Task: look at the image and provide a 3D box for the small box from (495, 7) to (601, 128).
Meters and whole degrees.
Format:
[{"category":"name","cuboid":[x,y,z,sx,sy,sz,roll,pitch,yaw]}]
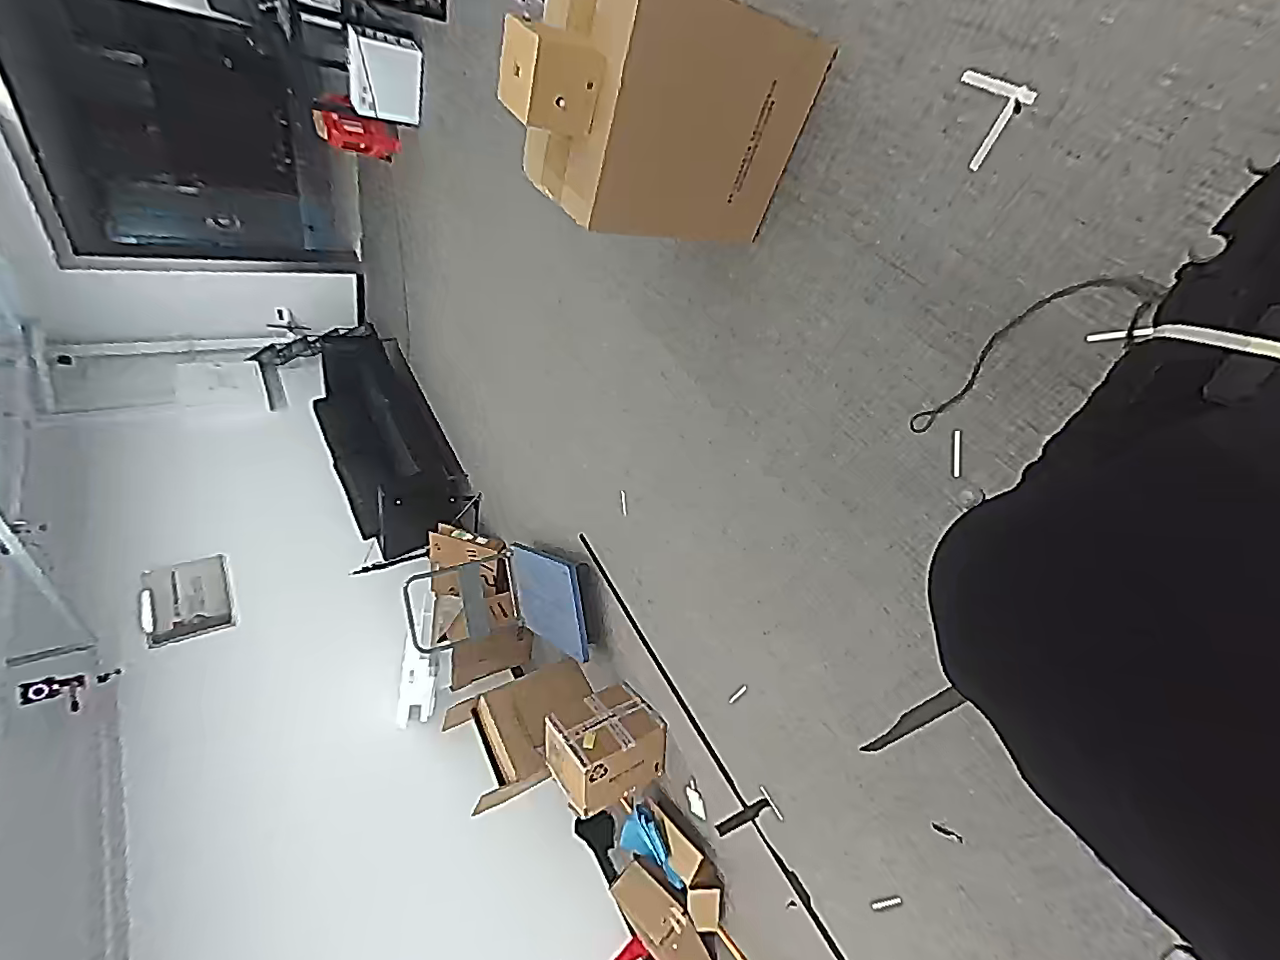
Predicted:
[{"category":"small box","cuboid":[-0.208,-0.921,1.219,0.179,0.176,0.168,55,141,29]}]
